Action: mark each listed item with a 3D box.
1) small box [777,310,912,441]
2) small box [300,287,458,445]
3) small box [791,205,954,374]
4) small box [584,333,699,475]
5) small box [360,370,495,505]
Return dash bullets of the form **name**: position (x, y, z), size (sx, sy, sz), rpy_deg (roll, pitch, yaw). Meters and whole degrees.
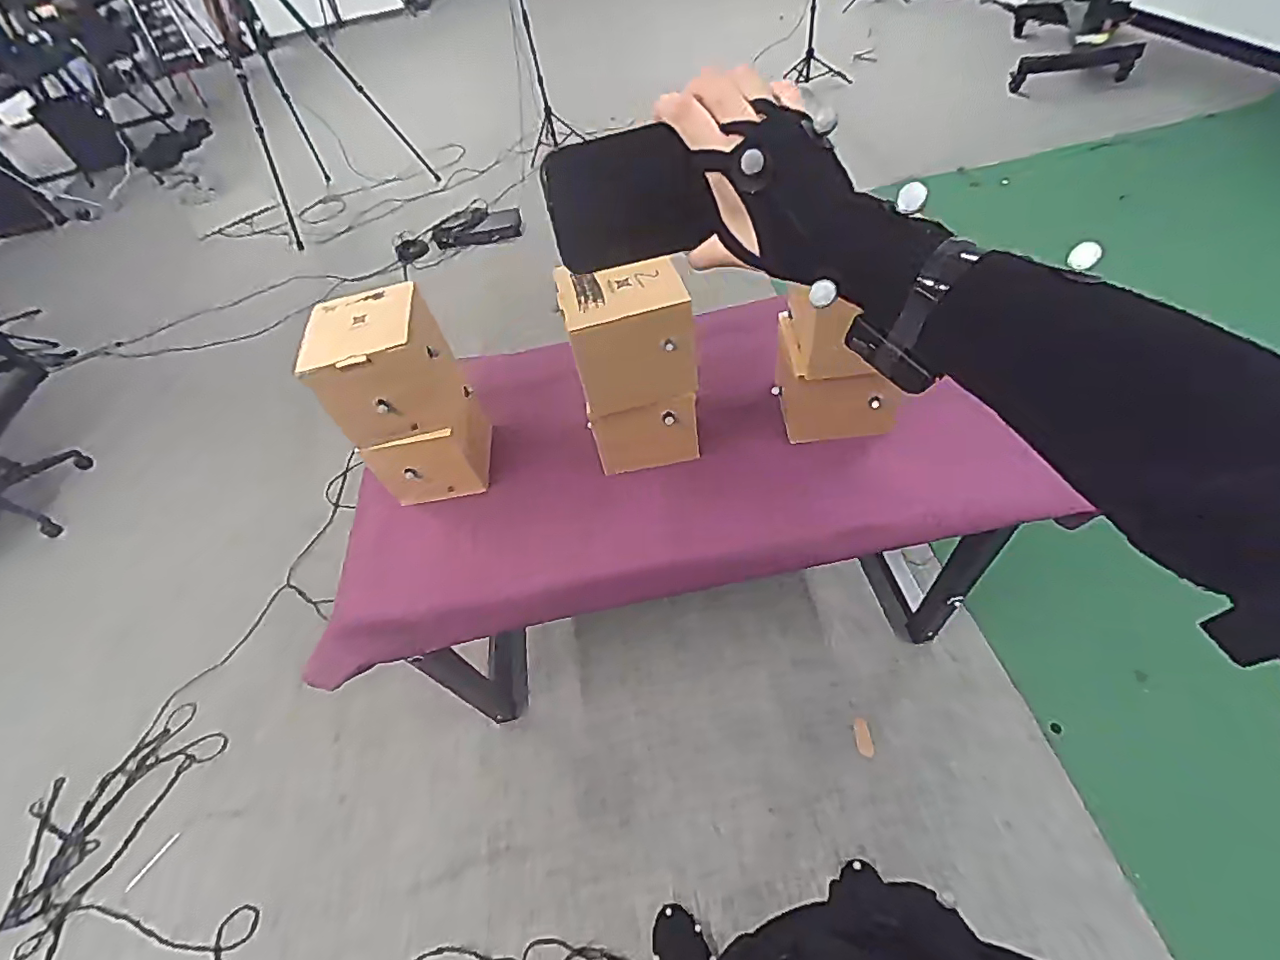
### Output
- **small box**: position (0.342, -0.186, 0.941), size (0.179, 0.176, 0.168), rpy_deg (-7, 51, 7)
- **small box**: position (-0.406, -0.176, 0.874), size (0.168, 0.176, 0.179), rpy_deg (-14, 52, -1)
- **small box**: position (0.326, -0.276, 0.804), size (0.179, 0.176, 0.168), rpy_deg (-6, 51, 6)
- **small box**: position (0.007, -0.131, 0.964), size (0.179, 0.176, 0.168), rpy_deg (-12, 51, 3)
- **small box**: position (-0.378, -0.070, 0.997), size (0.168, 0.176, 0.179), rpy_deg (-11, 51, 3)
